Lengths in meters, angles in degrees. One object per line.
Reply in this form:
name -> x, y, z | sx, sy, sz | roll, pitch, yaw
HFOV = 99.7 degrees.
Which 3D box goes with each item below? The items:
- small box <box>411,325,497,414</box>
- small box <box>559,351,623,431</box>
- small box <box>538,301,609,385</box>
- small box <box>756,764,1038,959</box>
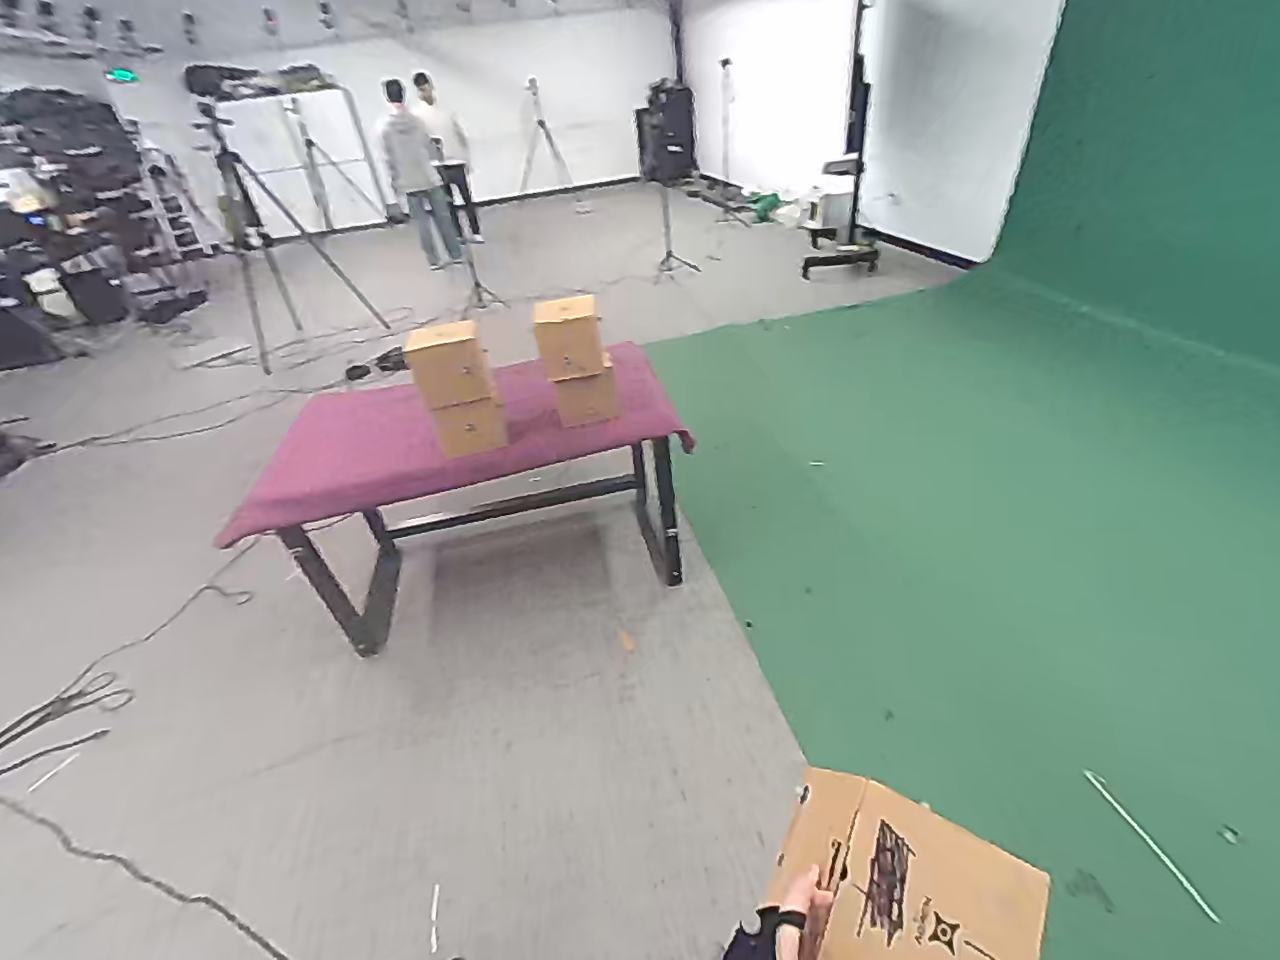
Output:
small box -> -0.493, -0.299, 1.464 | 0.179, 0.176, 0.168 | -13, 34, -5
small box -> -0.152, -0.267, 1.632 | 0.179, 0.176, 0.168 | -13, 34, -6
small box -> -0.182, -0.385, 1.521 | 0.168, 0.176, 0.179 | -9, 36, 0
small box -> 0.233, 0.401, 0.529 | 0.179, 0.176, 0.168 | 26, 67, 8
